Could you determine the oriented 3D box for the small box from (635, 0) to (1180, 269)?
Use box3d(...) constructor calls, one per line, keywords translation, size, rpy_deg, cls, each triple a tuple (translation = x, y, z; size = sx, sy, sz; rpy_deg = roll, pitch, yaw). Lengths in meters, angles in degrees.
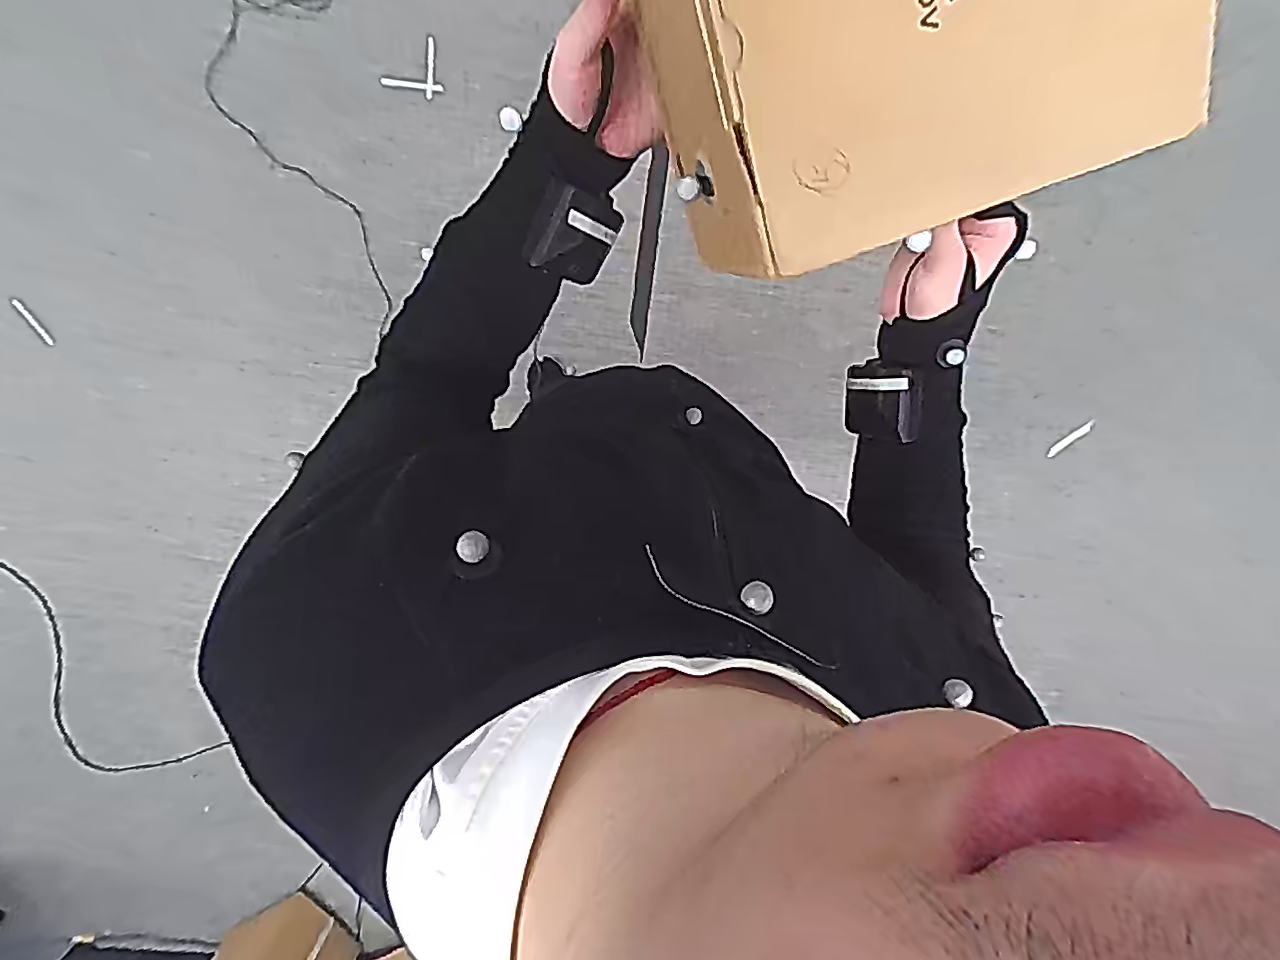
box3d(translation=(0.101, -0.216, 0.266), size=(0.179, 0.176, 0.168), rpy_deg=(-21, 115, 3), cls="small box")
